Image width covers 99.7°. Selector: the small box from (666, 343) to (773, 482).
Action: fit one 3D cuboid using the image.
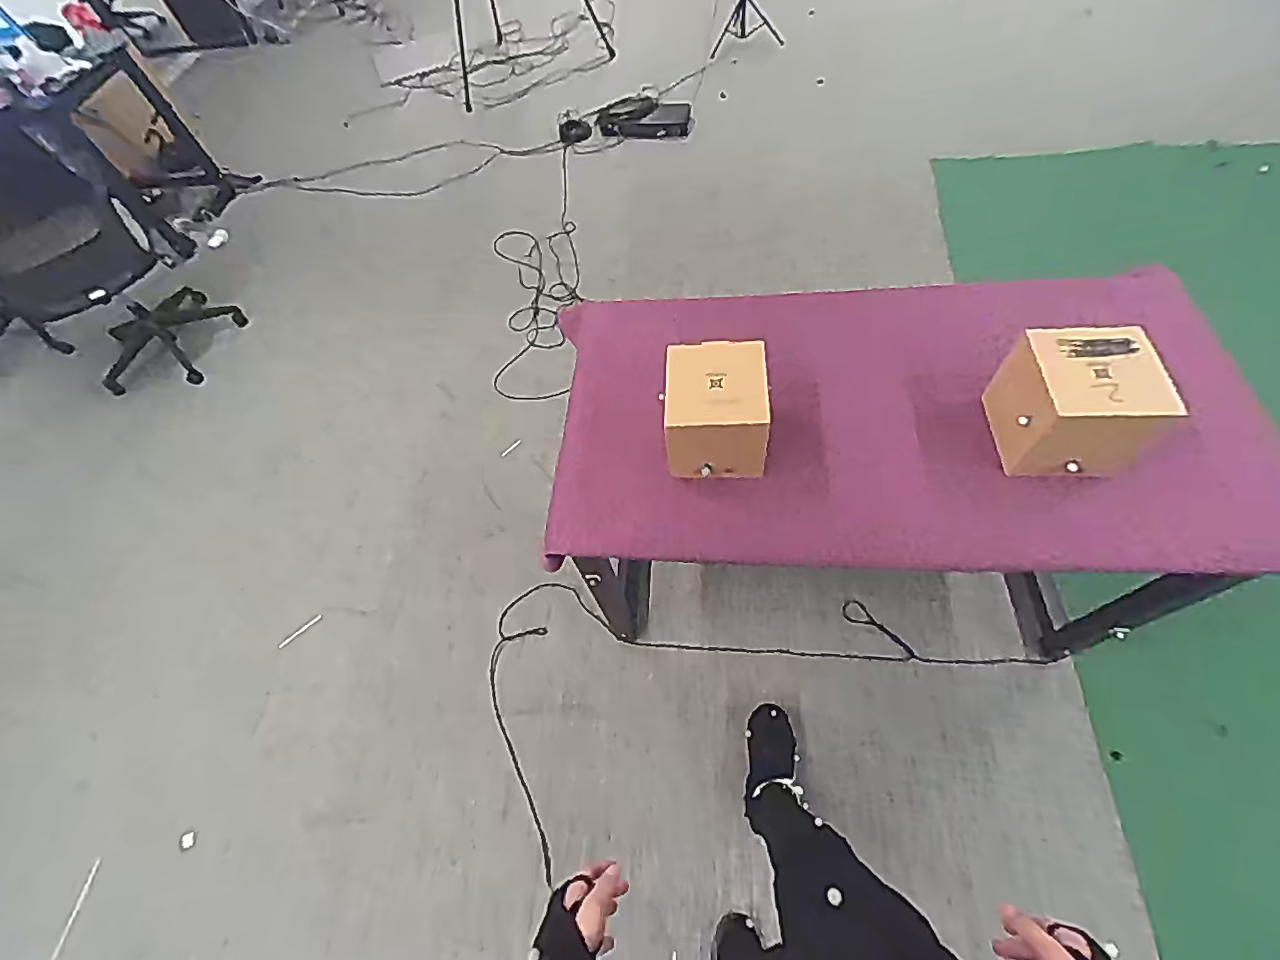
[{"bbox_3d":[0.135,-0.115,0.935,0.168,0.176,0.179,0,59,8],"label":"small box"}]
